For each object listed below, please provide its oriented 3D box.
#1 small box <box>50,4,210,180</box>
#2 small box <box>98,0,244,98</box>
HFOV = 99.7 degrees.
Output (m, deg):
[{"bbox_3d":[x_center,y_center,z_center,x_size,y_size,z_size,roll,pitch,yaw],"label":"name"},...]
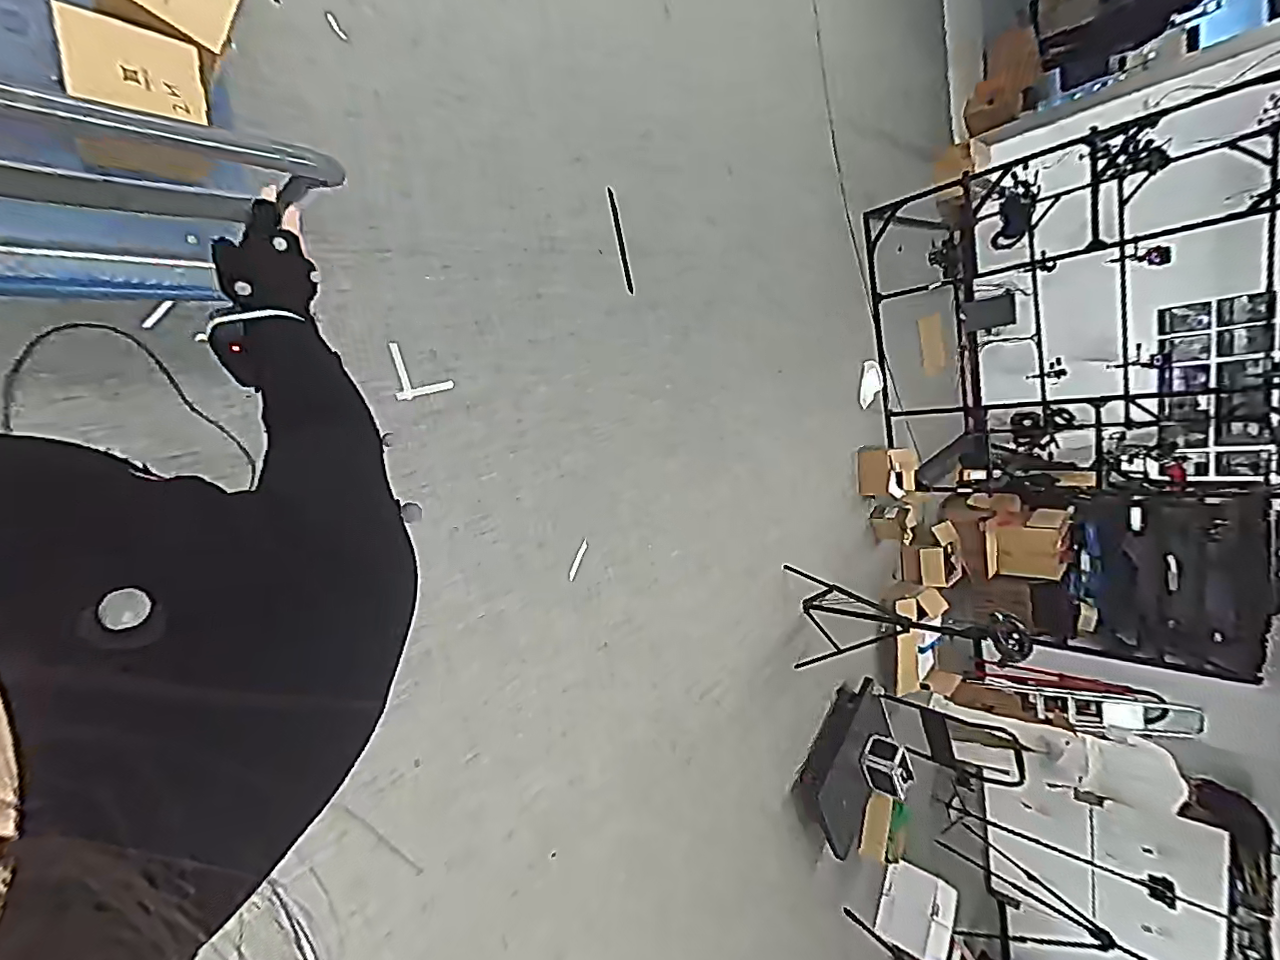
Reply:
[{"bbox_3d":[-0.874,-0.649,0.936,0.179,0.176,0.168,-10,98,-44],"label":"small box"},{"bbox_3d":[-0.838,-0.849,0.970,0.168,0.176,0.179,20,77,-43],"label":"small box"}]
